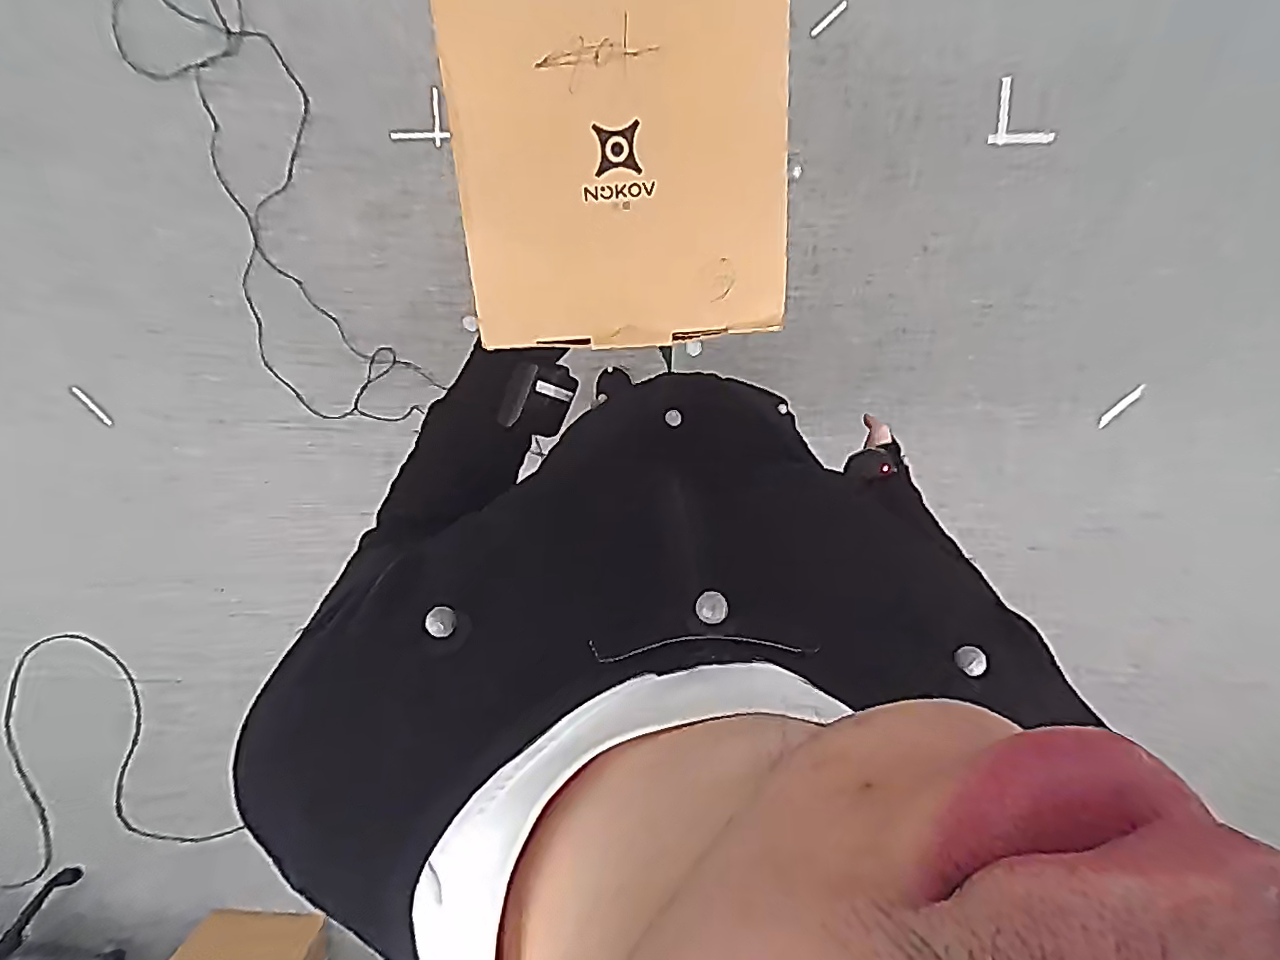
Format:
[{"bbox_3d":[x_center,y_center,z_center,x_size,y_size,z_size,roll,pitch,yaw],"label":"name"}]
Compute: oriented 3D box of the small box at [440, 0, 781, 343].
[{"bbox_3d":[-0.007,-0.188,0.353,0.168,0.176,0.179,-3,106,3],"label":"small box"}]
